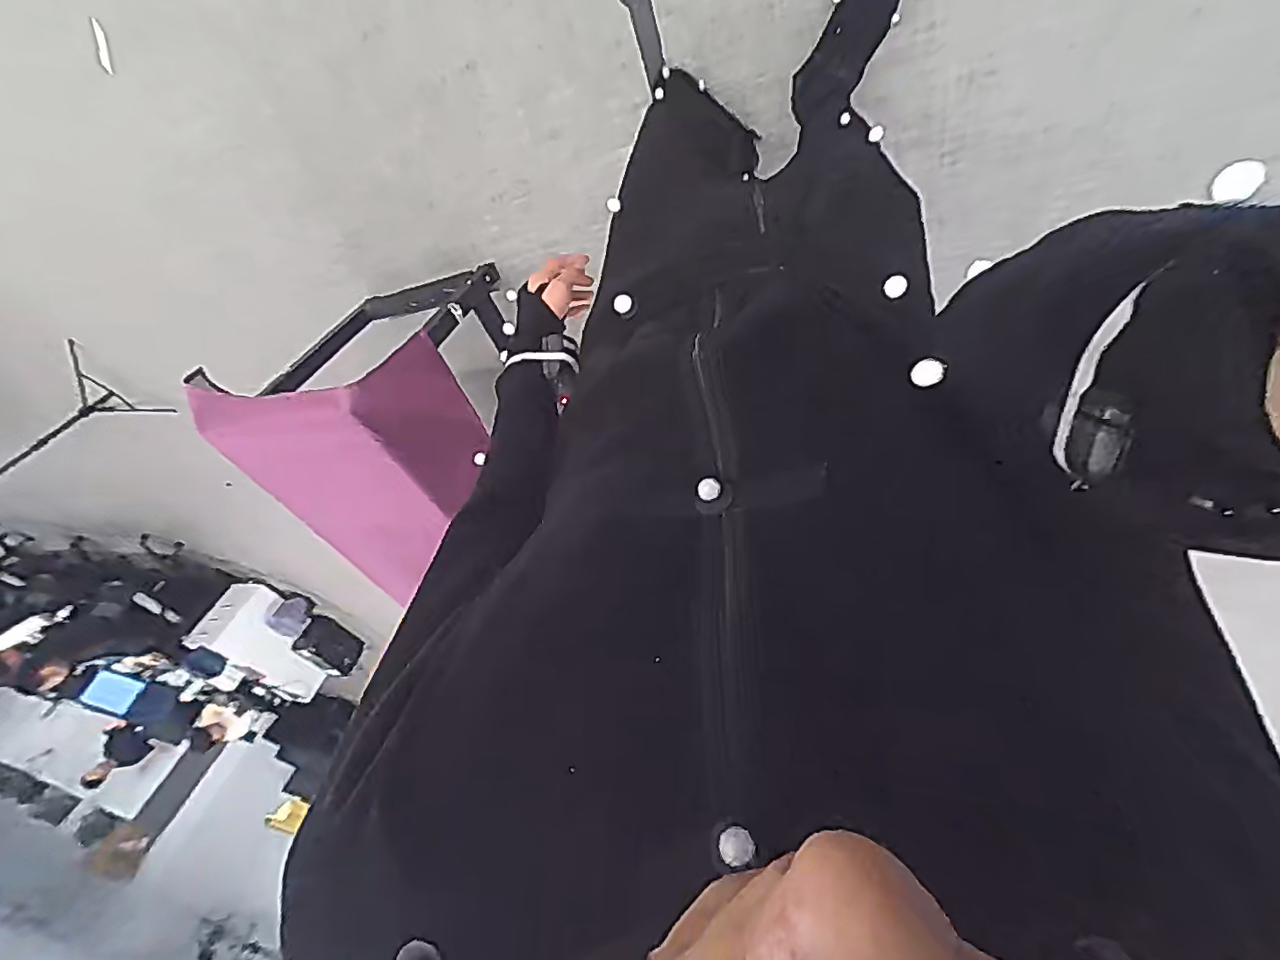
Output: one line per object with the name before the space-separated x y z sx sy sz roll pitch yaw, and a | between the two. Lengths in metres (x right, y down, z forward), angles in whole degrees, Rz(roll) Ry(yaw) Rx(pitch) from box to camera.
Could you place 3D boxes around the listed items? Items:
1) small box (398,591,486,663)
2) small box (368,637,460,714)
small box | -0.643 0.479 1.775 0.179 0.176 0.168 -4 135 25
small box | -0.685 0.600 1.671 0.179 0.176 0.168 -6 134 29
